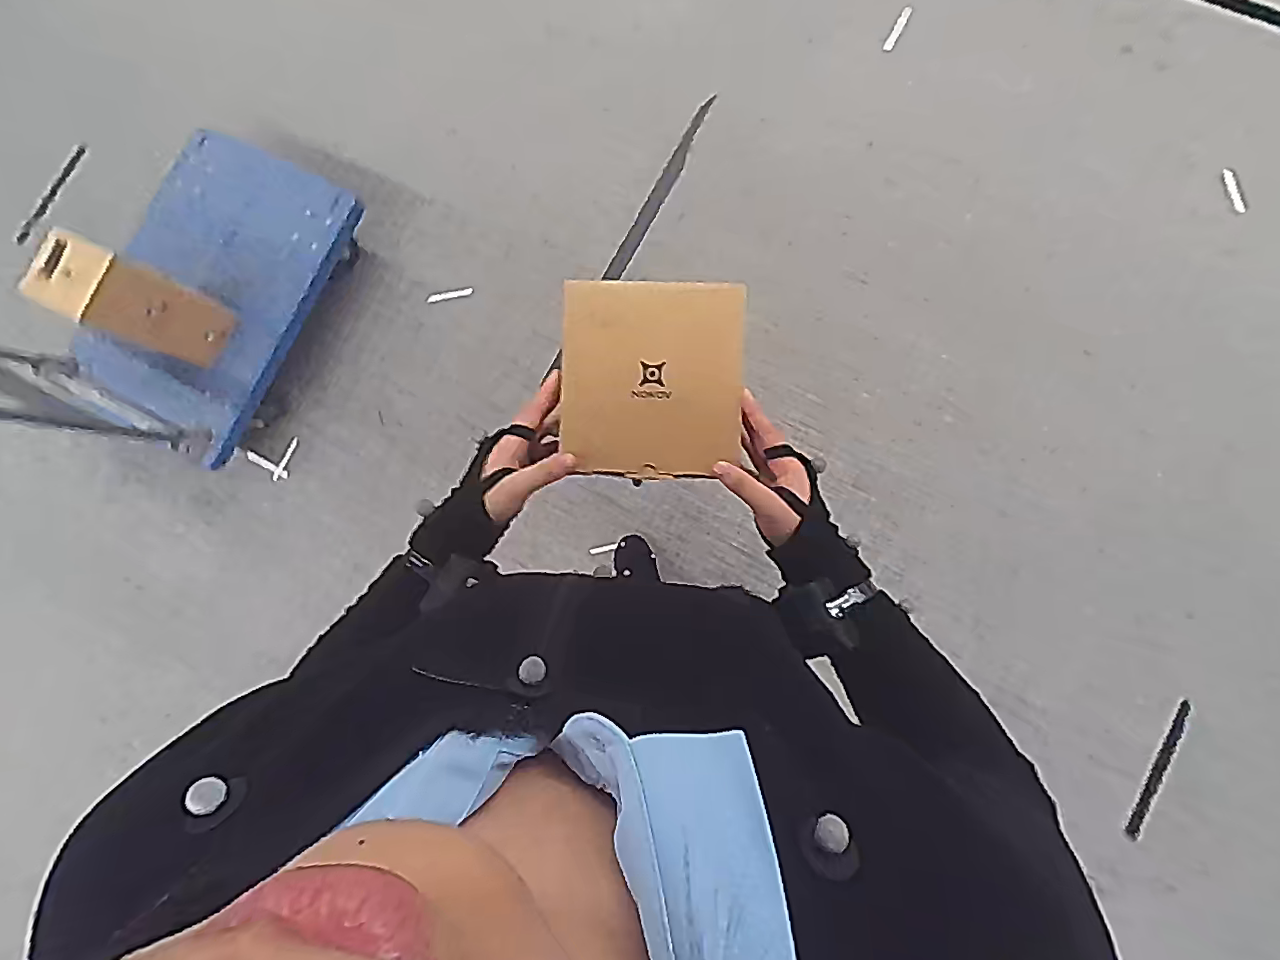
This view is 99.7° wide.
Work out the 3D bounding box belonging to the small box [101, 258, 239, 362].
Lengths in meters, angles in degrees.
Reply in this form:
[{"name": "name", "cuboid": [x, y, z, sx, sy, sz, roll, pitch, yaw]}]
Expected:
[{"name": "small box", "cuboid": [-1.213, -0.432, 1.407, 0.179, 0.176, 0.168, 30, 88, 7]}]
